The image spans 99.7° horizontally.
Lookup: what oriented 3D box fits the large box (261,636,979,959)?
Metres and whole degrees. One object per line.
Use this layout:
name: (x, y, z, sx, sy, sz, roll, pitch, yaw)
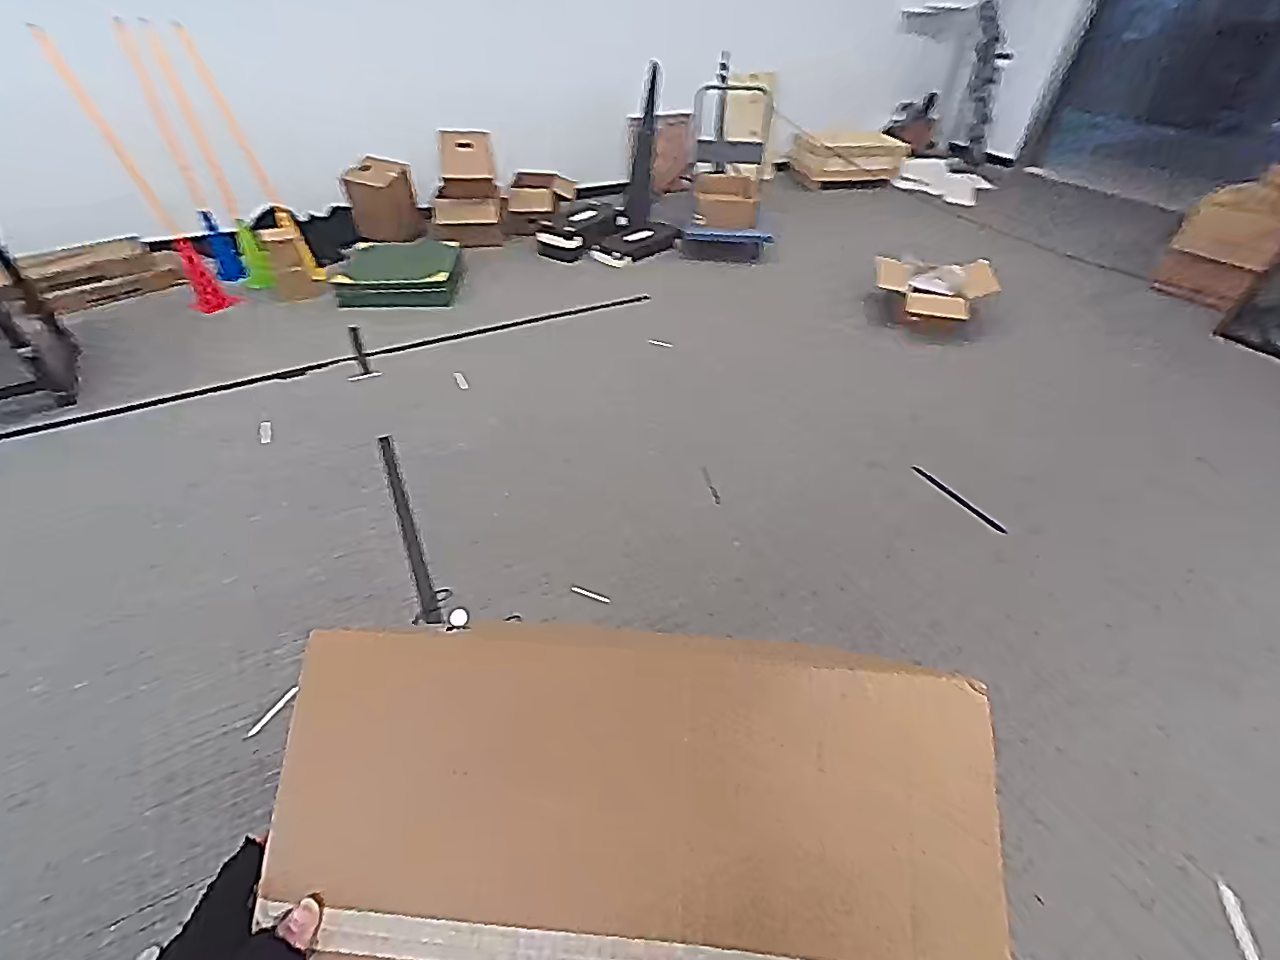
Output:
large box: (-0.009, 0.296, 0.444, 0.408, 0.320, 0.320, 2, 77, 5)
